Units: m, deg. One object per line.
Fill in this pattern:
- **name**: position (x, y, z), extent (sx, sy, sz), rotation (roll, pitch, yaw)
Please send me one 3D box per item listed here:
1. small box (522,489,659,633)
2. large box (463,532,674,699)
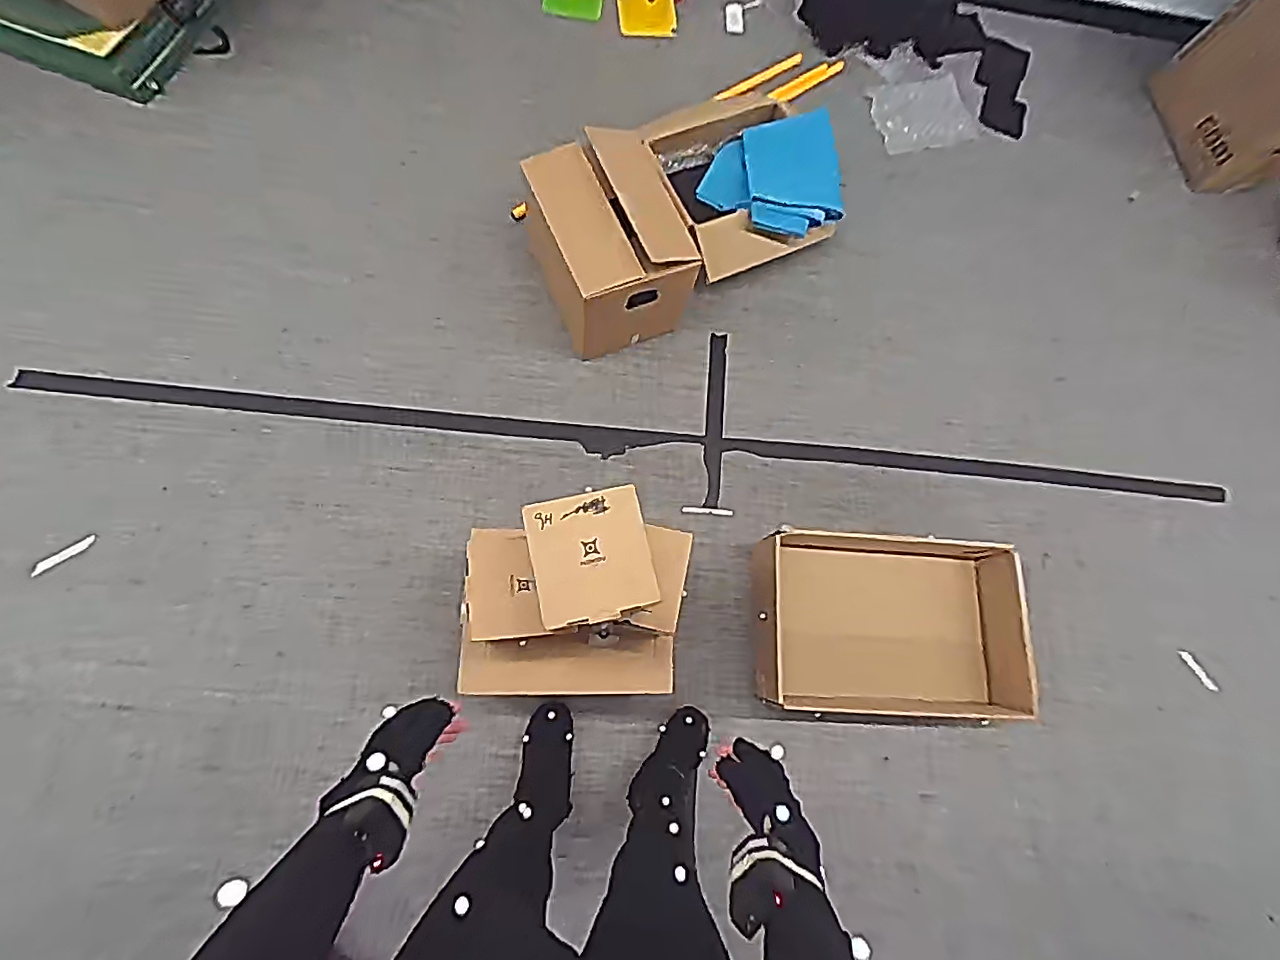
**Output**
- **small box**: position (-0.078, 0.128, 0.828), extent (0.168, 0.176, 0.179), rotation (-11, 77, -10)
- **large box**: position (-0.154, 0.296, 1.197), extent (0.408, 0.320, 0.320), rotation (2, 75, -7)
